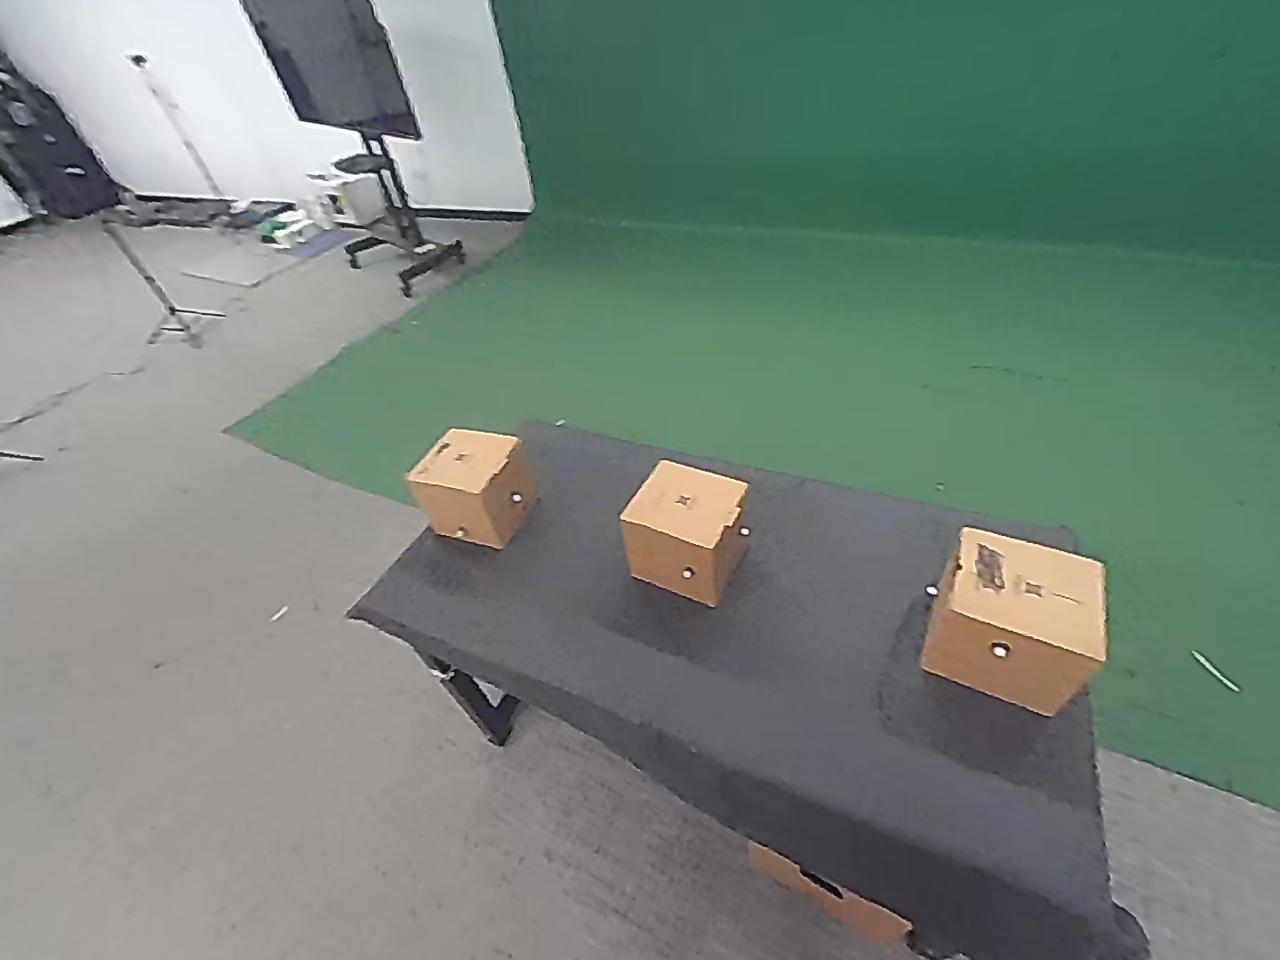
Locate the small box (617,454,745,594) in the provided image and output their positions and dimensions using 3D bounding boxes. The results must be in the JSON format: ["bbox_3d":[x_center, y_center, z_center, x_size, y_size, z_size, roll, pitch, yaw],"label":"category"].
[{"bbox_3d":[0.082,0.083,0.988,0.179,0.176,0.168,15,48,25],"label":"small box"}]

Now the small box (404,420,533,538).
[{"bbox_3d":[-0.348,0.000,1.138,0.179,0.176,0.168,11,47,18],"label":"small box"}]

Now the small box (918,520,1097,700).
[{"bbox_3d":[0.532,0.193,0.797,0.179,0.176,0.168,18,51,24],"label":"small box"}]
